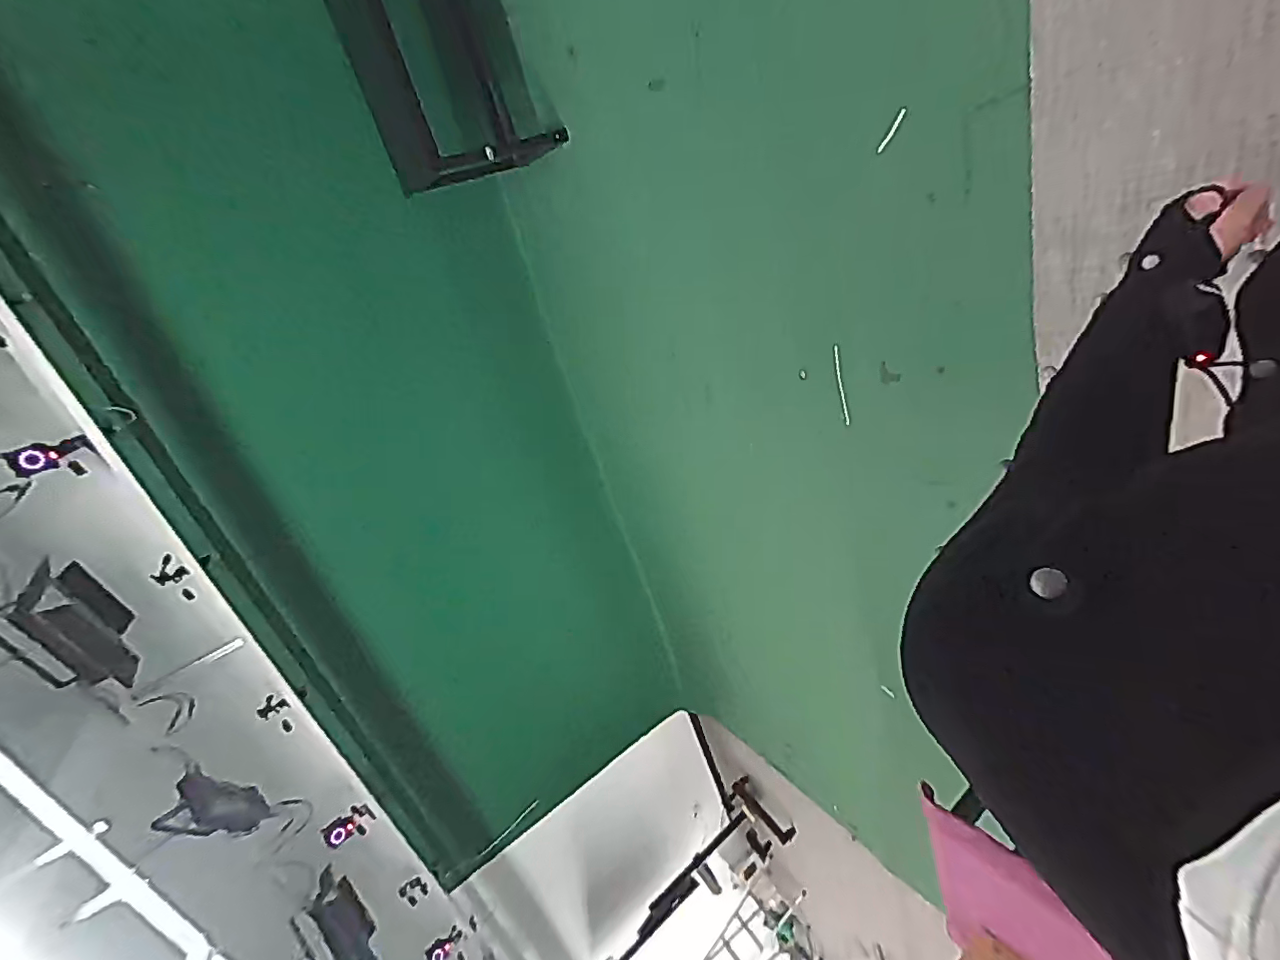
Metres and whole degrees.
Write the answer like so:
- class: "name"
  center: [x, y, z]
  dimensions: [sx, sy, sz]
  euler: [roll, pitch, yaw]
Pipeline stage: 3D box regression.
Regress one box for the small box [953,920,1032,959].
- class: "small box"
  center: [1.034, 1.452, 1.570]
  dimensions: [0.168, 0.176, 0.179]
  euler: [17, 131, 53]
